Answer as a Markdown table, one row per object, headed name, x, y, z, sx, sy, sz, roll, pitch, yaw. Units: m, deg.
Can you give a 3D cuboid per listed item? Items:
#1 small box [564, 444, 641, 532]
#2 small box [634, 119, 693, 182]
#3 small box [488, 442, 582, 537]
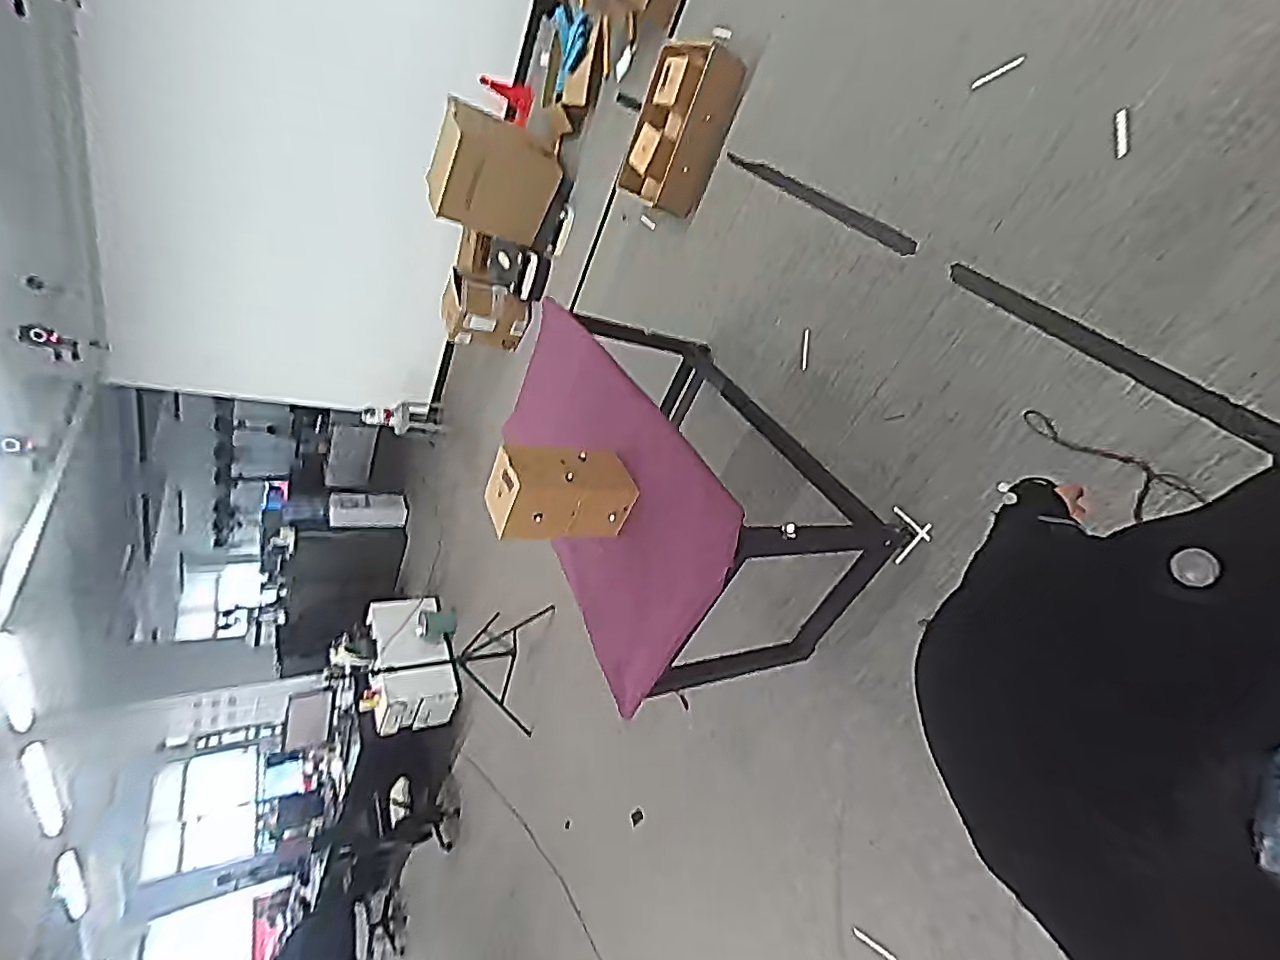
| name | x | y | z | sx | sy | sz | roll | pitch | yaw |
| --- | --- | --- | --- | --- | --- | --- | --- | --- | --- |
| small box | -0.125 | 0.025 | 1.453 | 0.179 | 0.176 | 0.168 | 58 | 132 | 39 |
| small box | 0.104 | -1.463 | 2.408 | 0.168 | 0.176 | 0.179 | -56 | 45 | 34 |
| small box | -0.262 | 0.024 | 1.362 | 0.168 | 0.176 | 0.179 | 56 | 131 | 41 |
